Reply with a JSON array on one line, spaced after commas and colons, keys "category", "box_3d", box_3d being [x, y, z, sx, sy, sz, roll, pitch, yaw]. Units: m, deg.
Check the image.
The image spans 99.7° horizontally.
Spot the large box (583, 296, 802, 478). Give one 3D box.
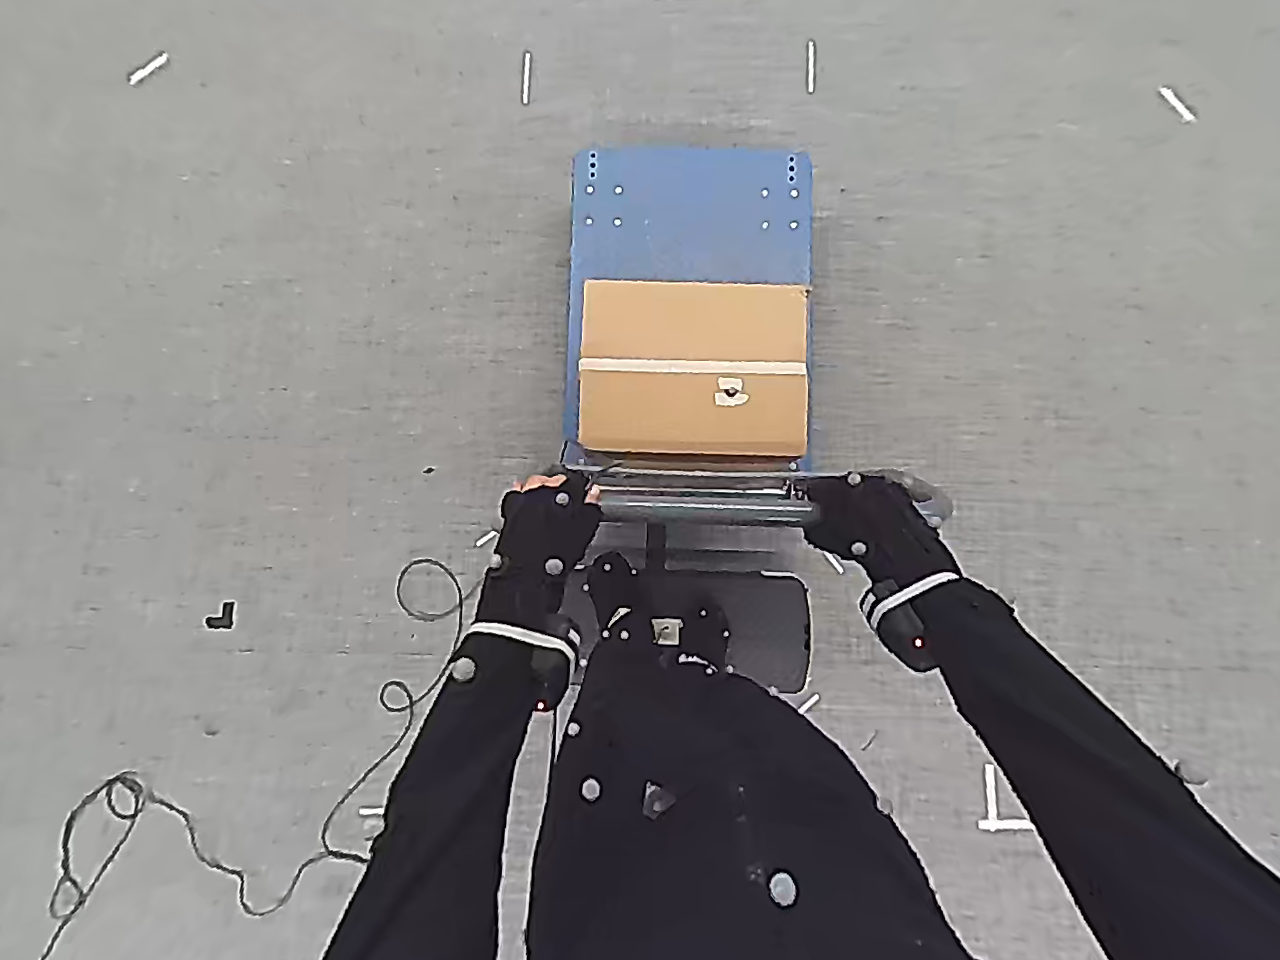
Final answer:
[{"category": "large box", "box_3d": [0.093, -0.173, 1.134, 0.408, 0.320, 0.320, 1, 86, 0]}]
